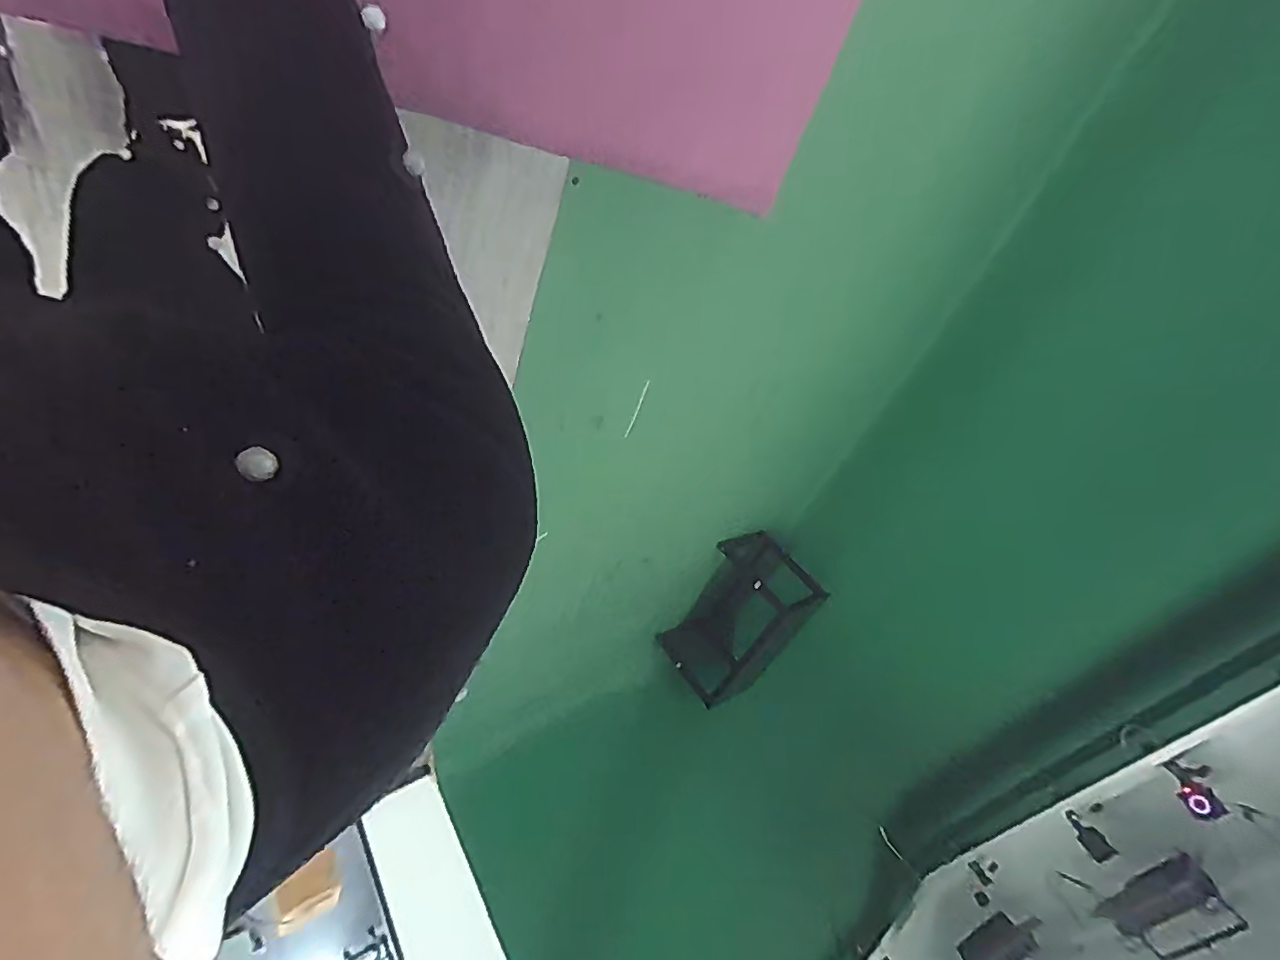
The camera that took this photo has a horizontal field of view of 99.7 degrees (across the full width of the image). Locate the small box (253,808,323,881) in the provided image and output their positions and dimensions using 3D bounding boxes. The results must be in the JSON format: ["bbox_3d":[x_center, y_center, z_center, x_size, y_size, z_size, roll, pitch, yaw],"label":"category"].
[{"bbox_3d":[-1.161,1.160,1.781,0.168,0.176,0.179,-8,133,-42],"label":"small box"}]

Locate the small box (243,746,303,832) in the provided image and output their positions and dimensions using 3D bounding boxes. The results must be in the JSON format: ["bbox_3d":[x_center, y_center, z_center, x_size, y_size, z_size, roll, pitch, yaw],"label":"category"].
[{"bbox_3d":[-1.255,1.060,1.868,0.168,0.176,0.179,-8,134,-43],"label":"small box"}]

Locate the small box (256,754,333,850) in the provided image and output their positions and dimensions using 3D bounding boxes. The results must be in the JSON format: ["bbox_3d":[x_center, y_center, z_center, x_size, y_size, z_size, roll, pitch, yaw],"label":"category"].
[{"bbox_3d":[-1.060,0.972,1.652,0.168,0.176,0.179,-7,135,-43],"label":"small box"}]
